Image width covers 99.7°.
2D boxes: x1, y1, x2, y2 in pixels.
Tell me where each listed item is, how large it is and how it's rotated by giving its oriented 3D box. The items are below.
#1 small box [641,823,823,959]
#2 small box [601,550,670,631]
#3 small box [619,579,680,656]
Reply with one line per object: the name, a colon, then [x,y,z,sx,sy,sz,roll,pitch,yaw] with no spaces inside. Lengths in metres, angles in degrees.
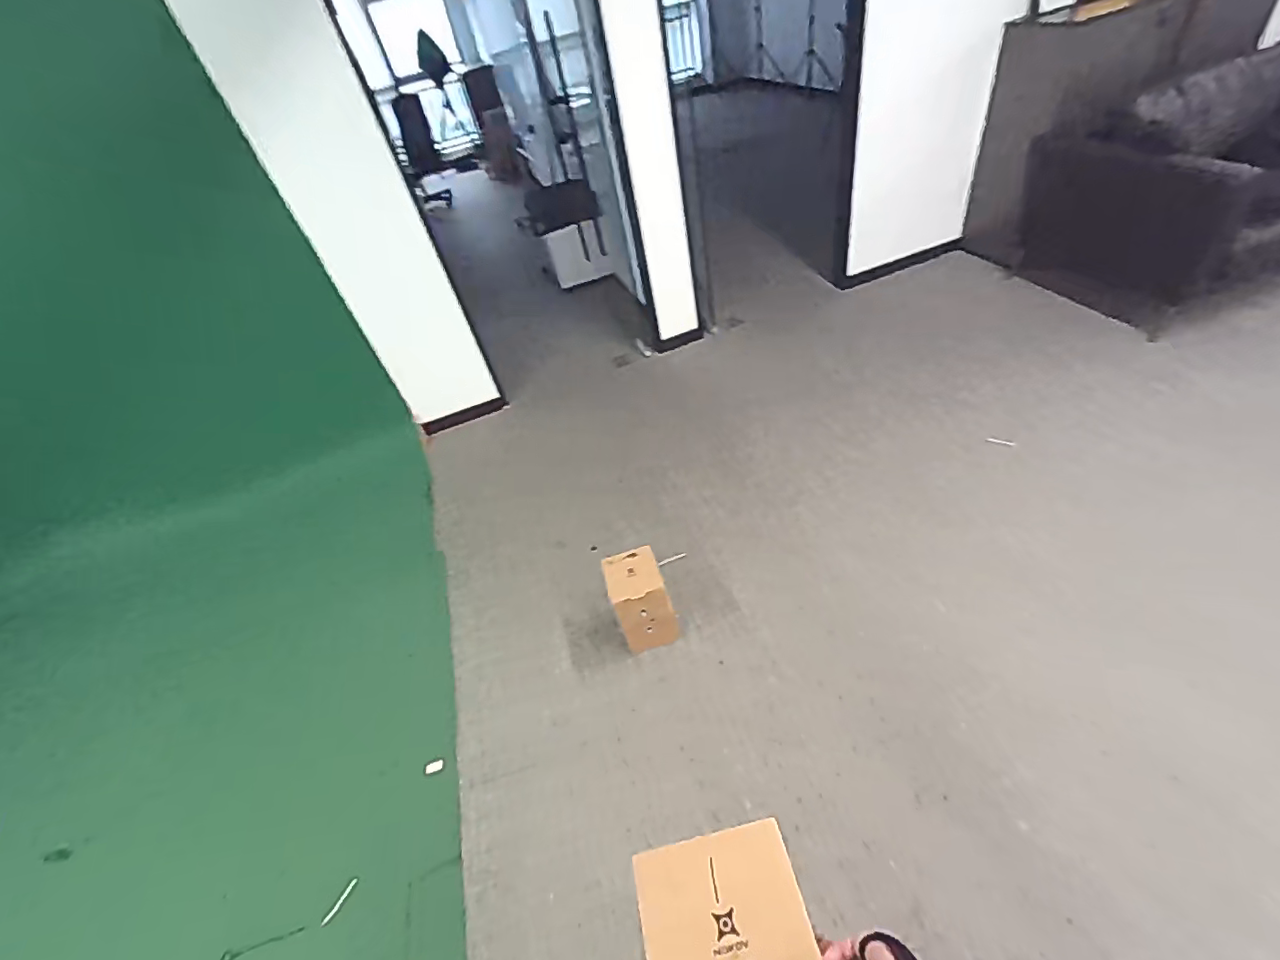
small box: [0.107,0.516,0.598,0.168,0.176,0.179,-14,43,-1]
small box: [-0.012,0.356,1.708,0.168,0.176,0.179,-17,44,-3]
small box: [0.022,0.468,1.822,0.179,0.176,0.168,-17,43,-2]
